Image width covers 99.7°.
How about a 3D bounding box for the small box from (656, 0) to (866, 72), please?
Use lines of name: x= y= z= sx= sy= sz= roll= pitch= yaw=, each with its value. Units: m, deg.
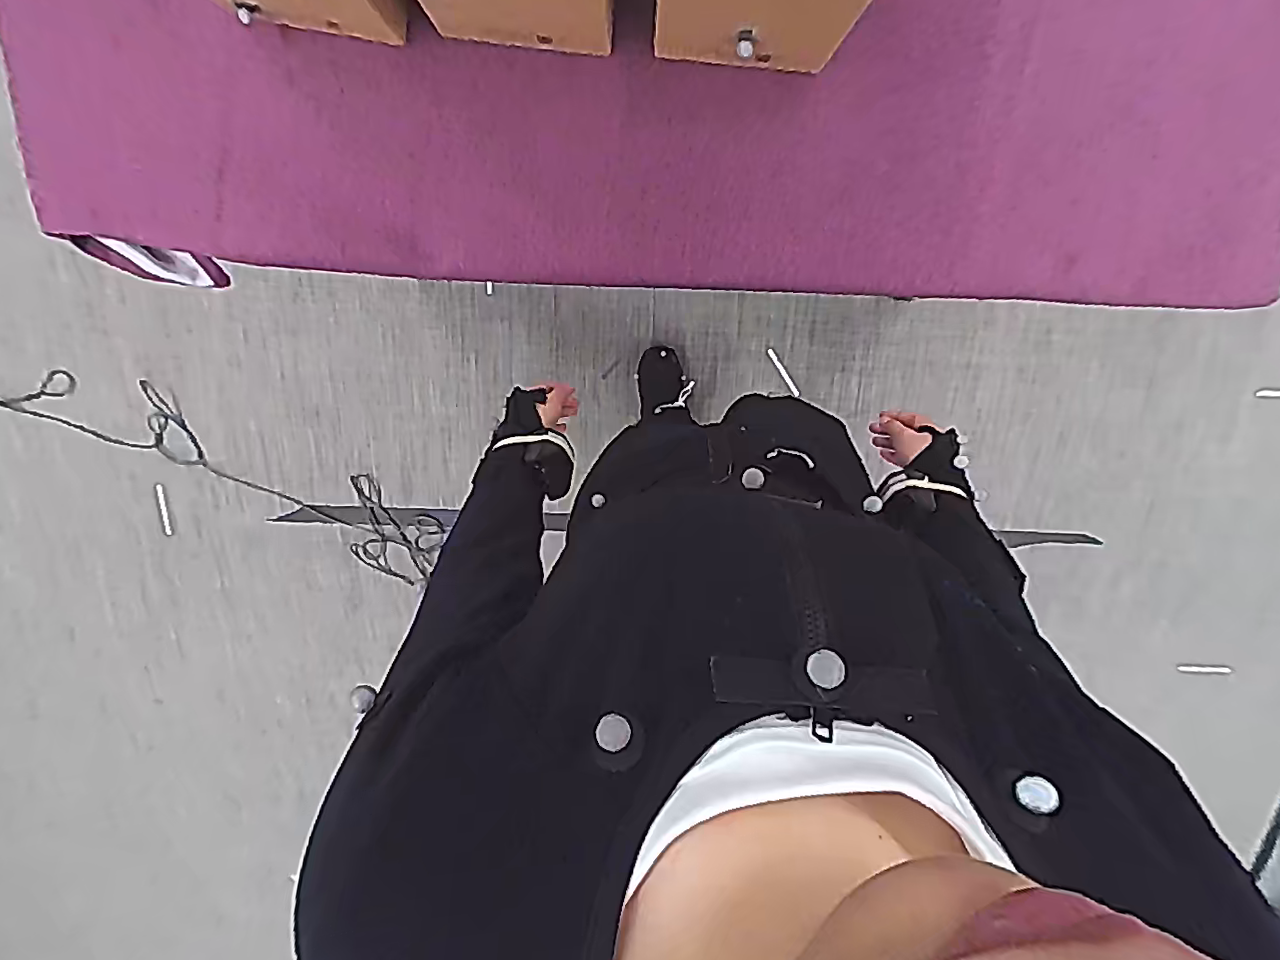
small box: x=0.102 y=-0.469 z=0.427 sx=0.168 sy=0.176 sz=0.179 roll=5 pitch=105 yaw=-1
